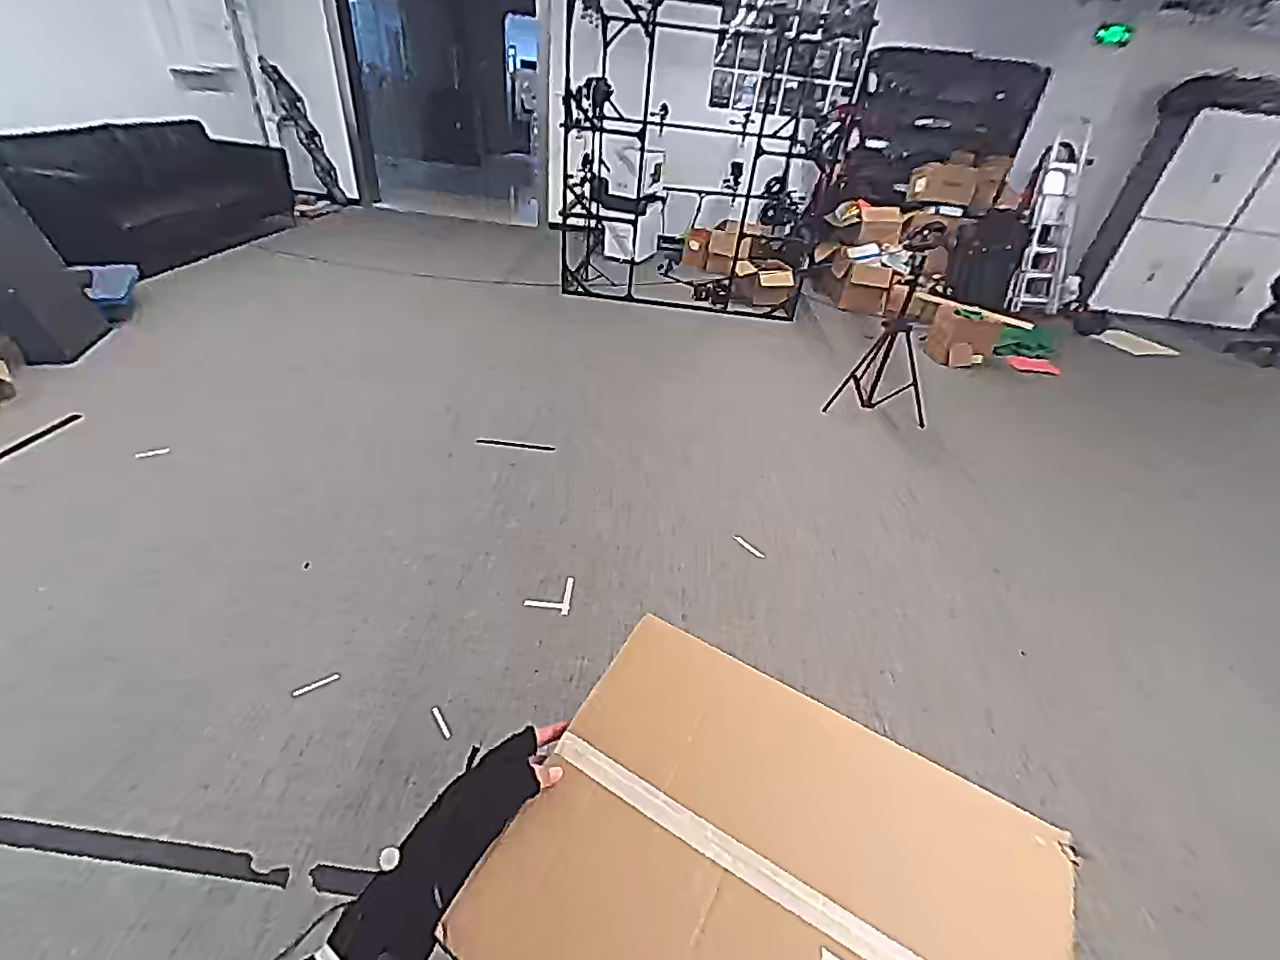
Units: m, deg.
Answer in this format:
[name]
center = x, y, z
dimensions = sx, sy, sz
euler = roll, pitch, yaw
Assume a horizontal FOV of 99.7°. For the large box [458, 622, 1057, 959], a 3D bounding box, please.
[large box]
center = 0.100, 0.421, 0.534
dimensions = 0.408, 0.320, 0.320
euler = 24, 48, 20
